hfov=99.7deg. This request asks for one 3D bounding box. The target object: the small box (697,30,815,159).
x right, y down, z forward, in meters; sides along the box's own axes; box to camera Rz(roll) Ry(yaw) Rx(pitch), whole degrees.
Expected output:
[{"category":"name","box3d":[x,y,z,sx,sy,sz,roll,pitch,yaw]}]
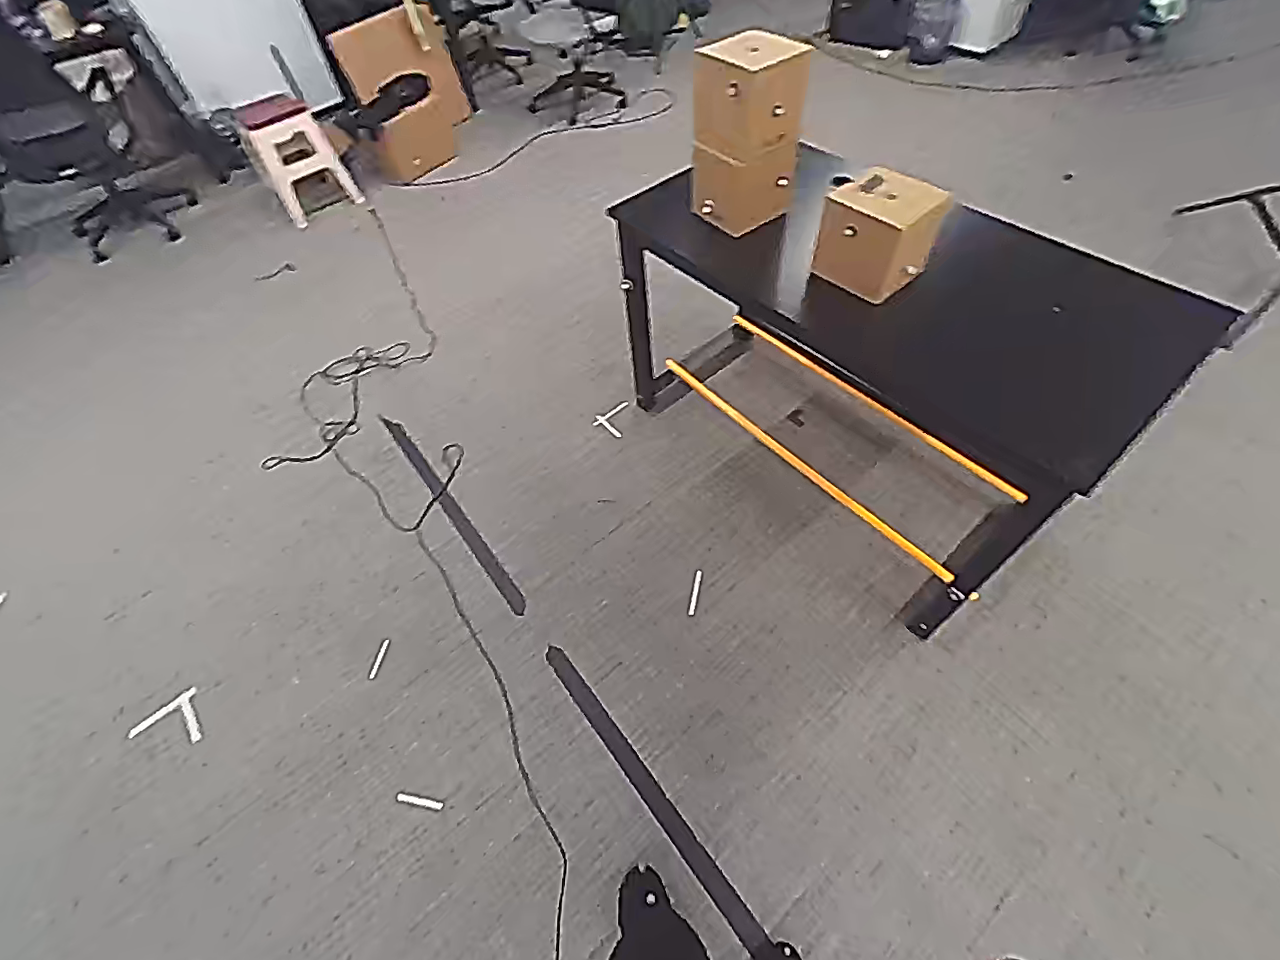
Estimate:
[{"category":"small box","box3d":[0.239,-0.813,1.148,0.168,0.176,0.179,-33,58,-18]}]

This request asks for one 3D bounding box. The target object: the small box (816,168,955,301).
[{"category":"small box","box3d":[0.489,-0.498,1.106,0.168,0.176,0.179,-37,61,-19]}]

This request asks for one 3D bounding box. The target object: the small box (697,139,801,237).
[{"category":"small box","box3d":[0.249,-0.711,1.278,0.179,0.176,0.168,-34,58,-17]}]
